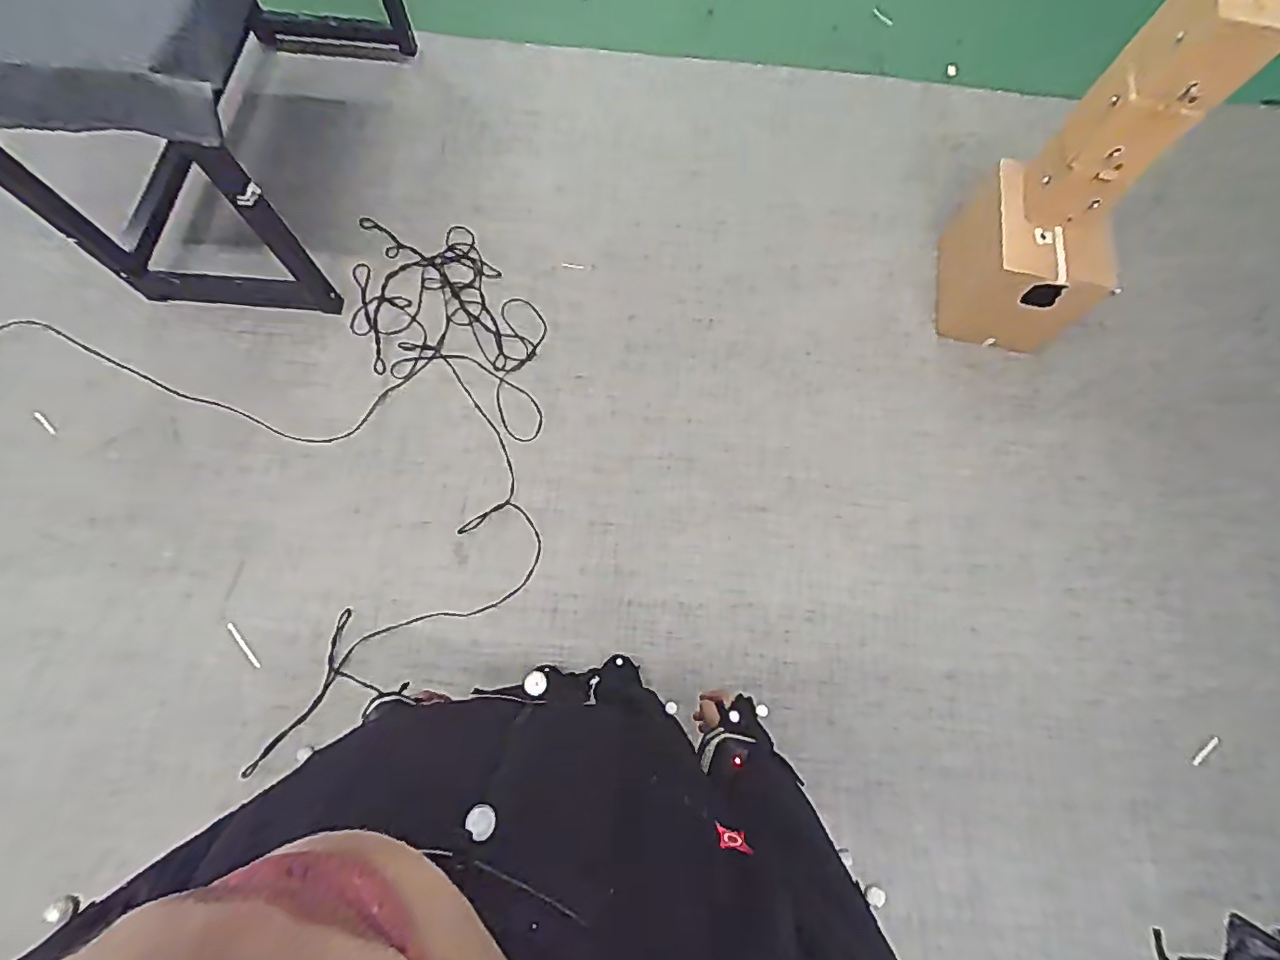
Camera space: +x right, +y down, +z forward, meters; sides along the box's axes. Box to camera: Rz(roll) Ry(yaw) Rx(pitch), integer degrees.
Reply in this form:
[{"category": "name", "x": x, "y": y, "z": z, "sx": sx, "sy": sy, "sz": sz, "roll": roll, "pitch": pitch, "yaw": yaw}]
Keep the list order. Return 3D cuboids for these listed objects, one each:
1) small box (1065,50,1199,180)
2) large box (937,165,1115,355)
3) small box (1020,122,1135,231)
[{"category": "small box", "x": 1.142, "y": -0.850, "z": 1.270, "sx": 0.168, "sy": 0.176, "sz": 0.179, "roll": 13, "pitch": 72, "yaw": 0}, {"category": "large box", "x": 1.130, "y": -0.649, "z": 1.630, "sx": 0.320, "sy": 0.320, "sz": 0.408, "roll": 10, "pitch": 72, "yaw": 2}, {"category": "small box", "x": 1.140, "y": -0.791, "z": 1.422, "sx": 0.168, "sy": 0.176, "sz": 0.179, "roll": 11, "pitch": 71, "yaw": 0}]
